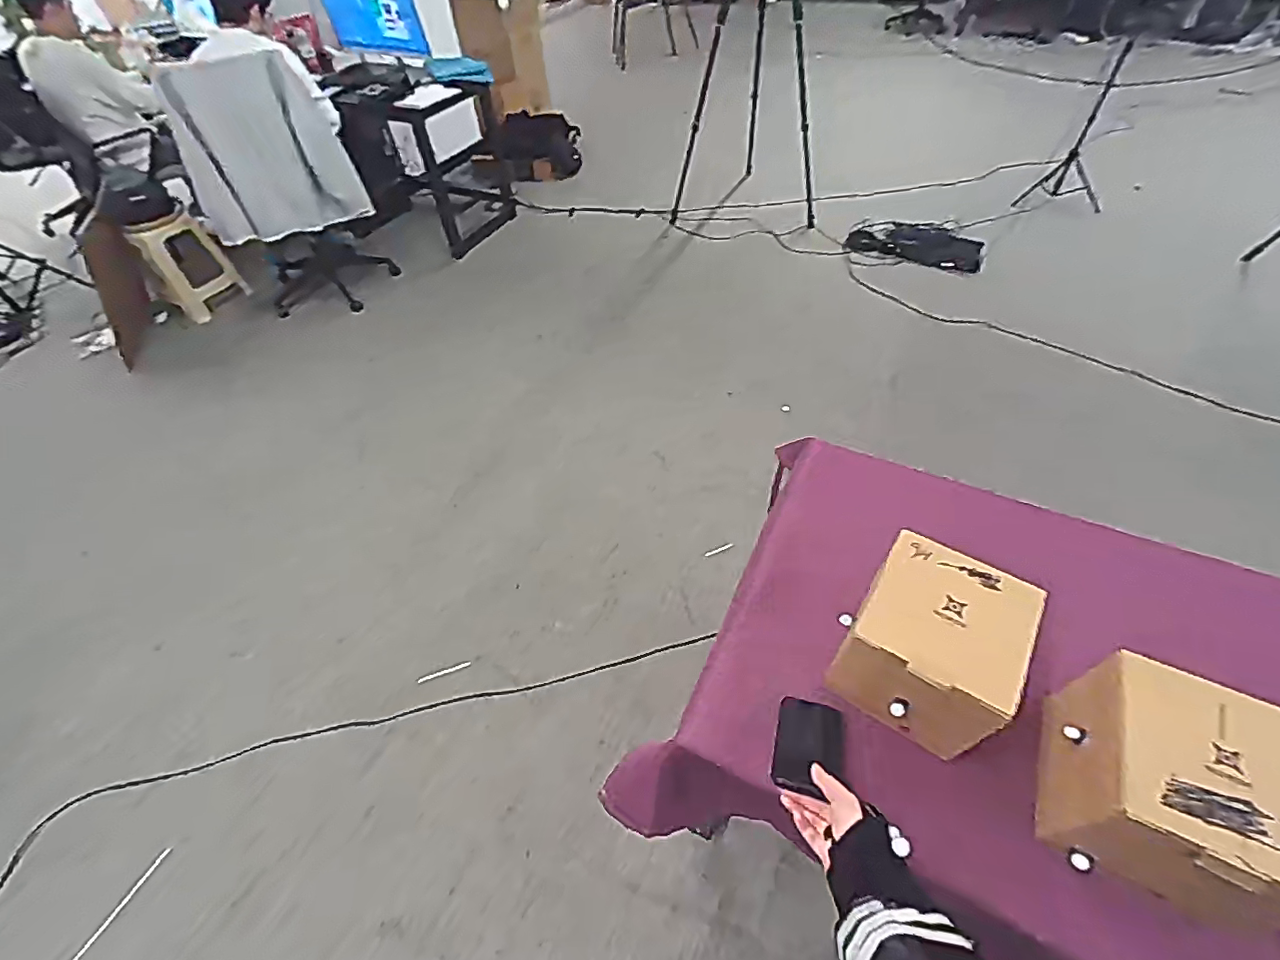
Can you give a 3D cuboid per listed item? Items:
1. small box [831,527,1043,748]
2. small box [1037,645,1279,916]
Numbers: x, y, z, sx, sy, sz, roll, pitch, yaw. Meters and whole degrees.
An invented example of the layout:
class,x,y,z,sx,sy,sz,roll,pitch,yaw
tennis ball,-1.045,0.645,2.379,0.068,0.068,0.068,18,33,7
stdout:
class,x,y,z,sx,sy,sz,roll,pitch,yaw
small box,0.355,0.199,0.674,0.168,0.176,0.179,27,57,24
small box,0.546,0.313,0.562,0.168,0.176,0.179,20,53,20
